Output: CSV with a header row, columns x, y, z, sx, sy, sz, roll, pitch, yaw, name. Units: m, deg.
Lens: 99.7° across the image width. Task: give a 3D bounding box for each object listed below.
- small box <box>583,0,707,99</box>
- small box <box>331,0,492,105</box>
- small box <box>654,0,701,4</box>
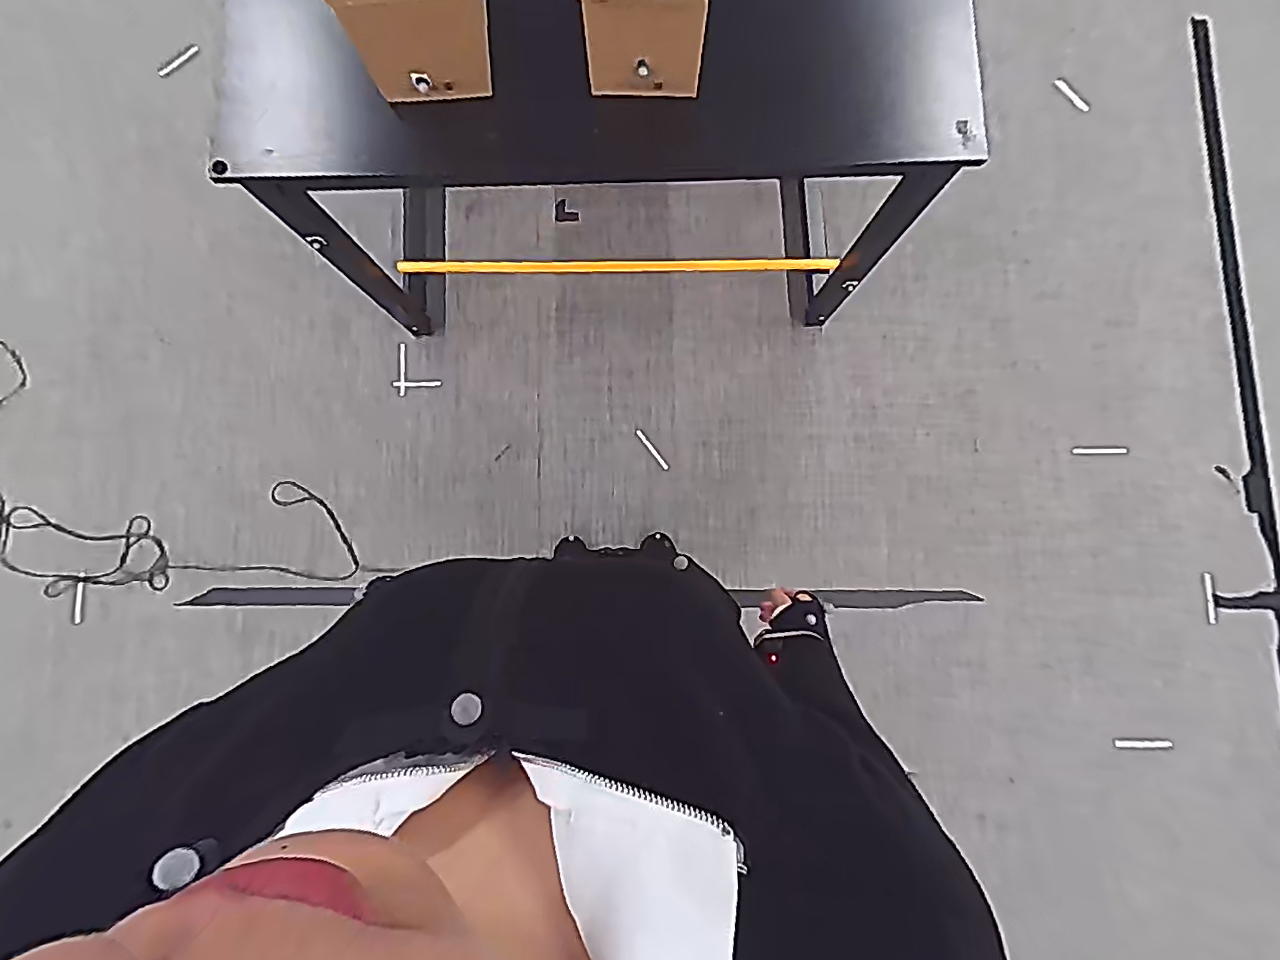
x,y,z,sx,sy,sz,roll,pitch,yaw,name
0.007,-0.697,0.778,0.168,0.176,0.179,2,84,0,small box
-0.320,-0.687,0.777,0.168,0.176,0.179,-5,85,0,small box
0.008,-0.694,0.613,0.168,0.176,0.179,4,85,0,small box
